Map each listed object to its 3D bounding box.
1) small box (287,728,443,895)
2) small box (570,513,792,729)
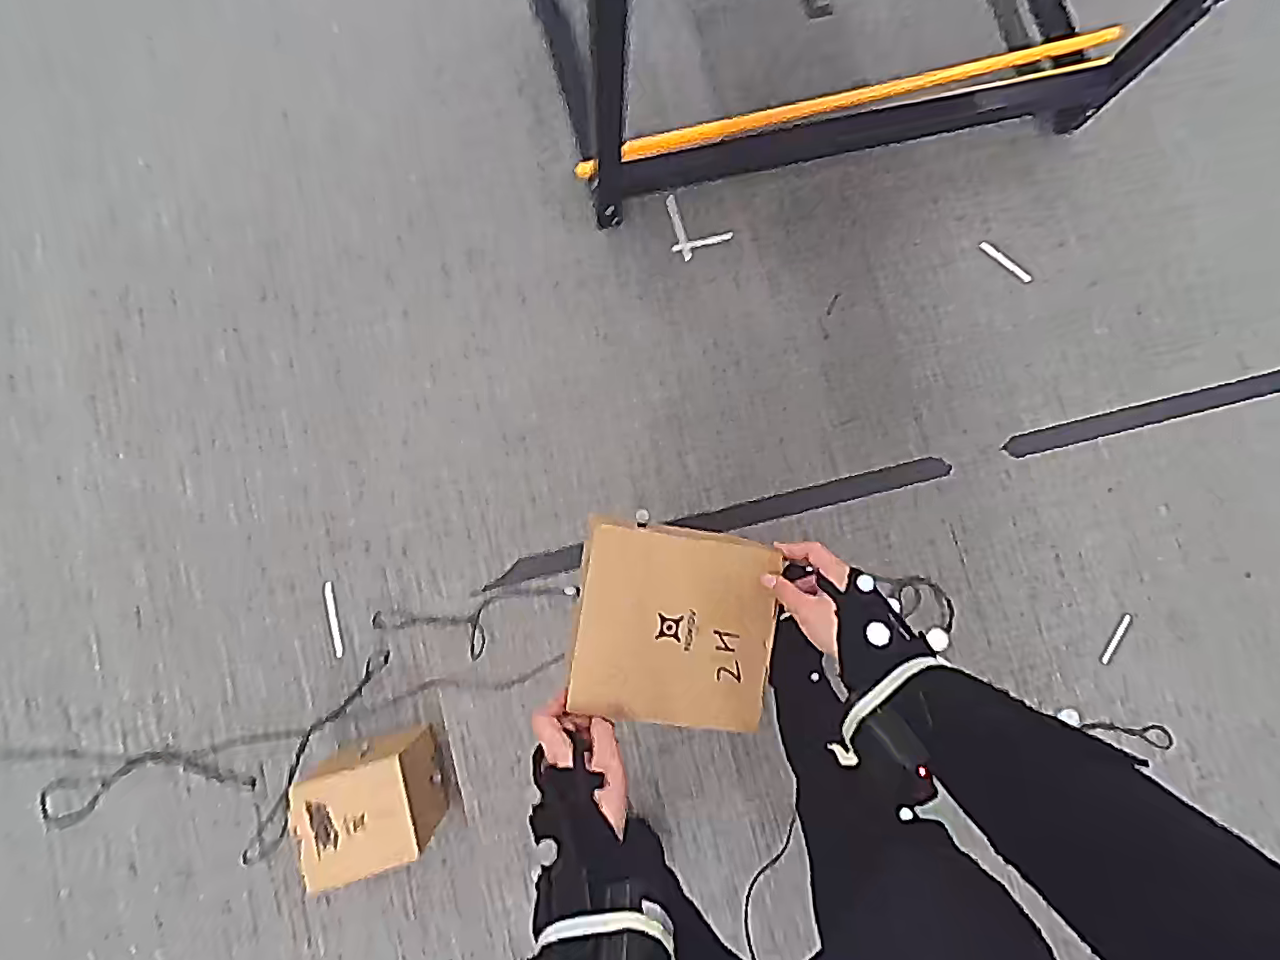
[{"bbox_3d":[-0.464,0.557,0.934,0.179,0.176,0.168,-14,84,-7],"label":"small box"},{"bbox_3d":[0.029,0.128,0.552,0.179,0.176,0.168,10,88,-7],"label":"small box"}]
